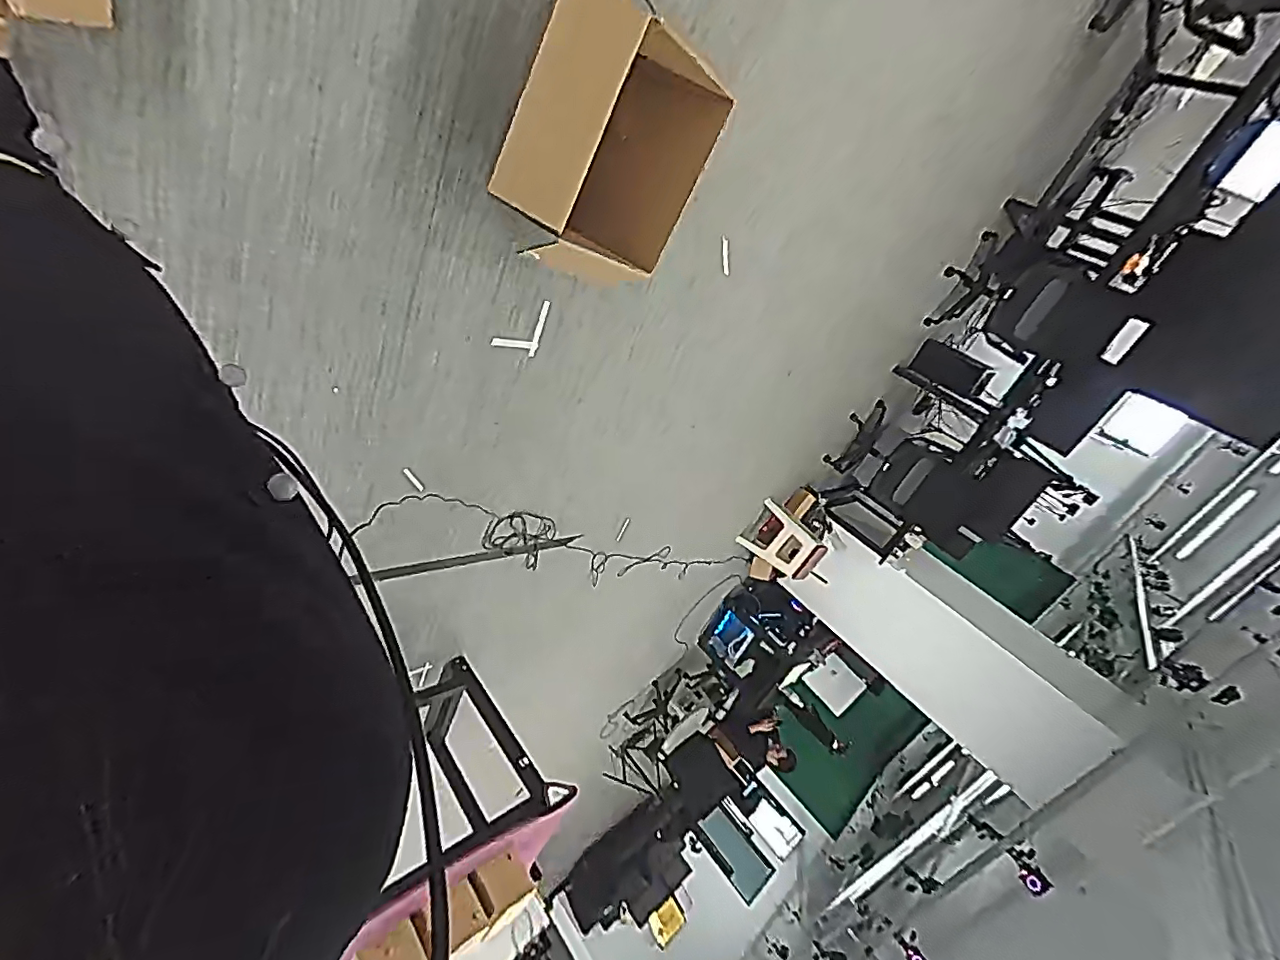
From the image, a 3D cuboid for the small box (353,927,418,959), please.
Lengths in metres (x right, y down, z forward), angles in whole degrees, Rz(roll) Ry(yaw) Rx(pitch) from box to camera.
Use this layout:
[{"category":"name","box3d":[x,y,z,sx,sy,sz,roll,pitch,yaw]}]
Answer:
[{"category":"small box","box3d":[-0.763,1.487,1.599,0.168,0.176,0.179,-3,128,-52]}]
